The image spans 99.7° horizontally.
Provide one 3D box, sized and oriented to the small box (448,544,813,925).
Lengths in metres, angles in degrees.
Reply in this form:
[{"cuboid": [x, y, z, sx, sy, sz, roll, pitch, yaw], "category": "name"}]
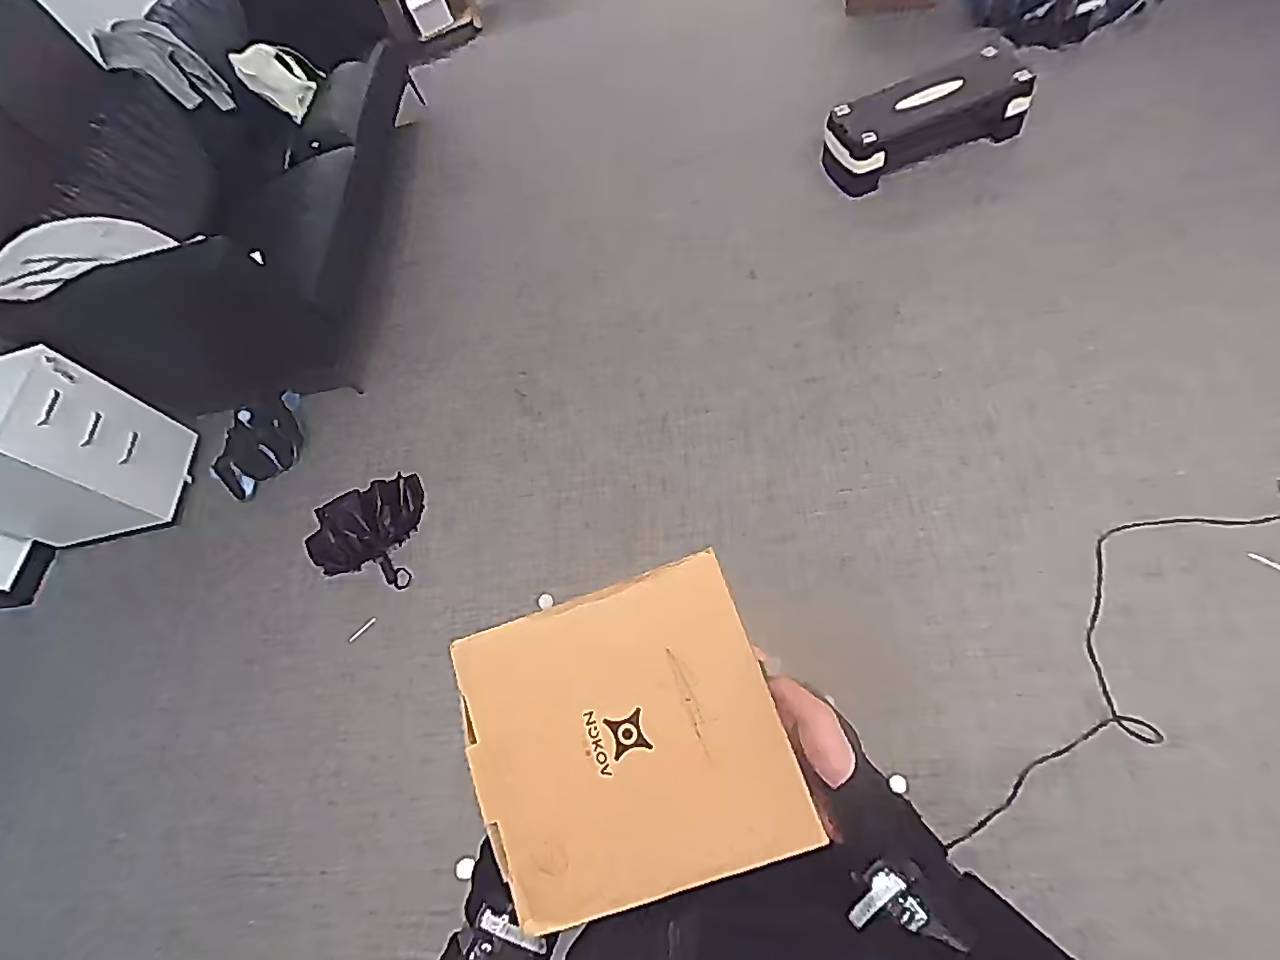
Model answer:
[{"cuboid": [-0.001, 0.157, 0.387, 0.179, 0.176, 0.168, -21, 77, 3], "category": "small box"}]
